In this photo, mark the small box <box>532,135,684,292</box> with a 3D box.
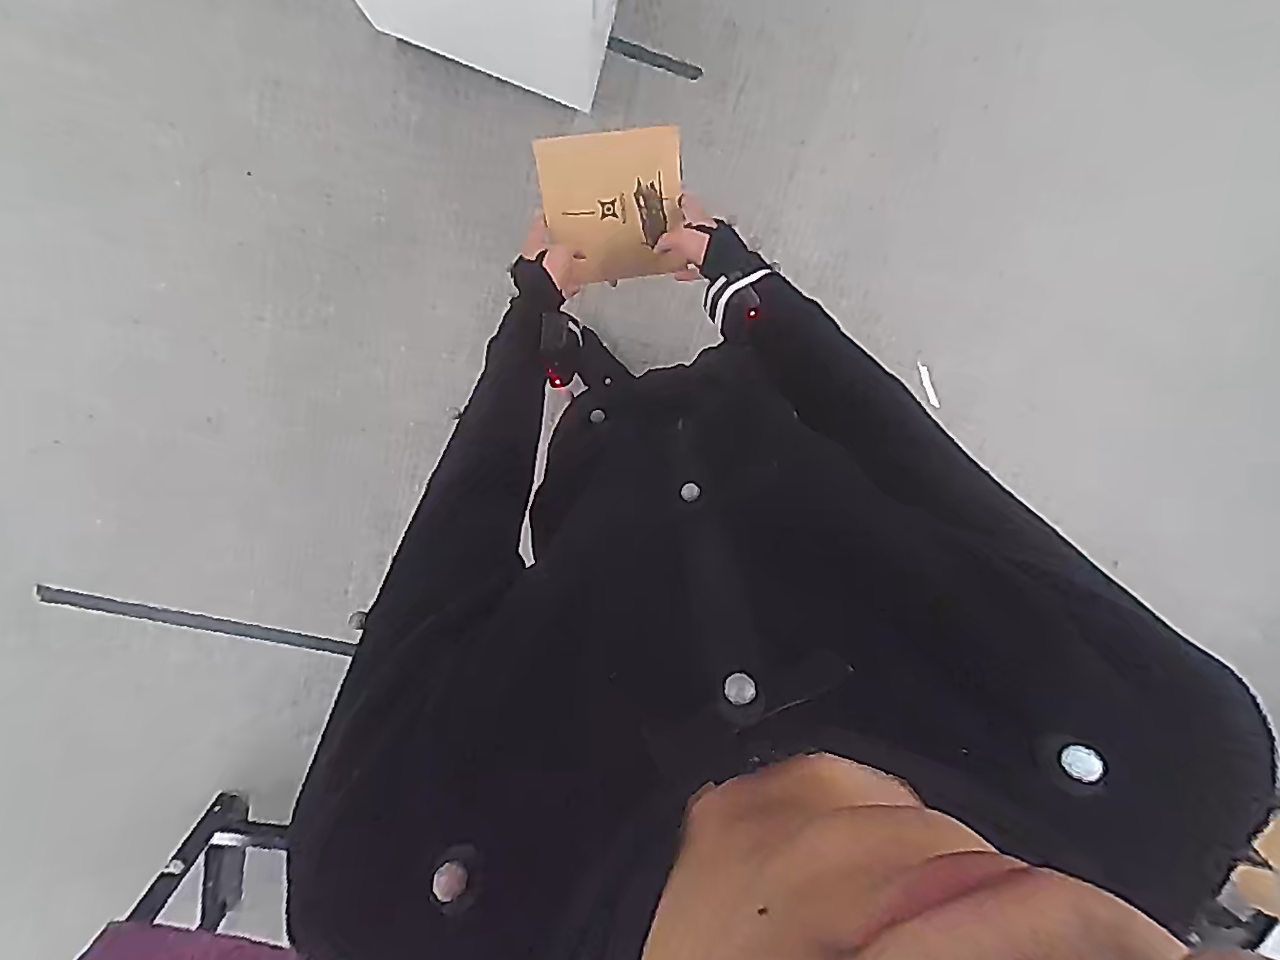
[{"bbox_3d":[-0.045,-0.361,0.740,0.179,0.176,0.168,-8,115,-4],"label":"small box"}]
